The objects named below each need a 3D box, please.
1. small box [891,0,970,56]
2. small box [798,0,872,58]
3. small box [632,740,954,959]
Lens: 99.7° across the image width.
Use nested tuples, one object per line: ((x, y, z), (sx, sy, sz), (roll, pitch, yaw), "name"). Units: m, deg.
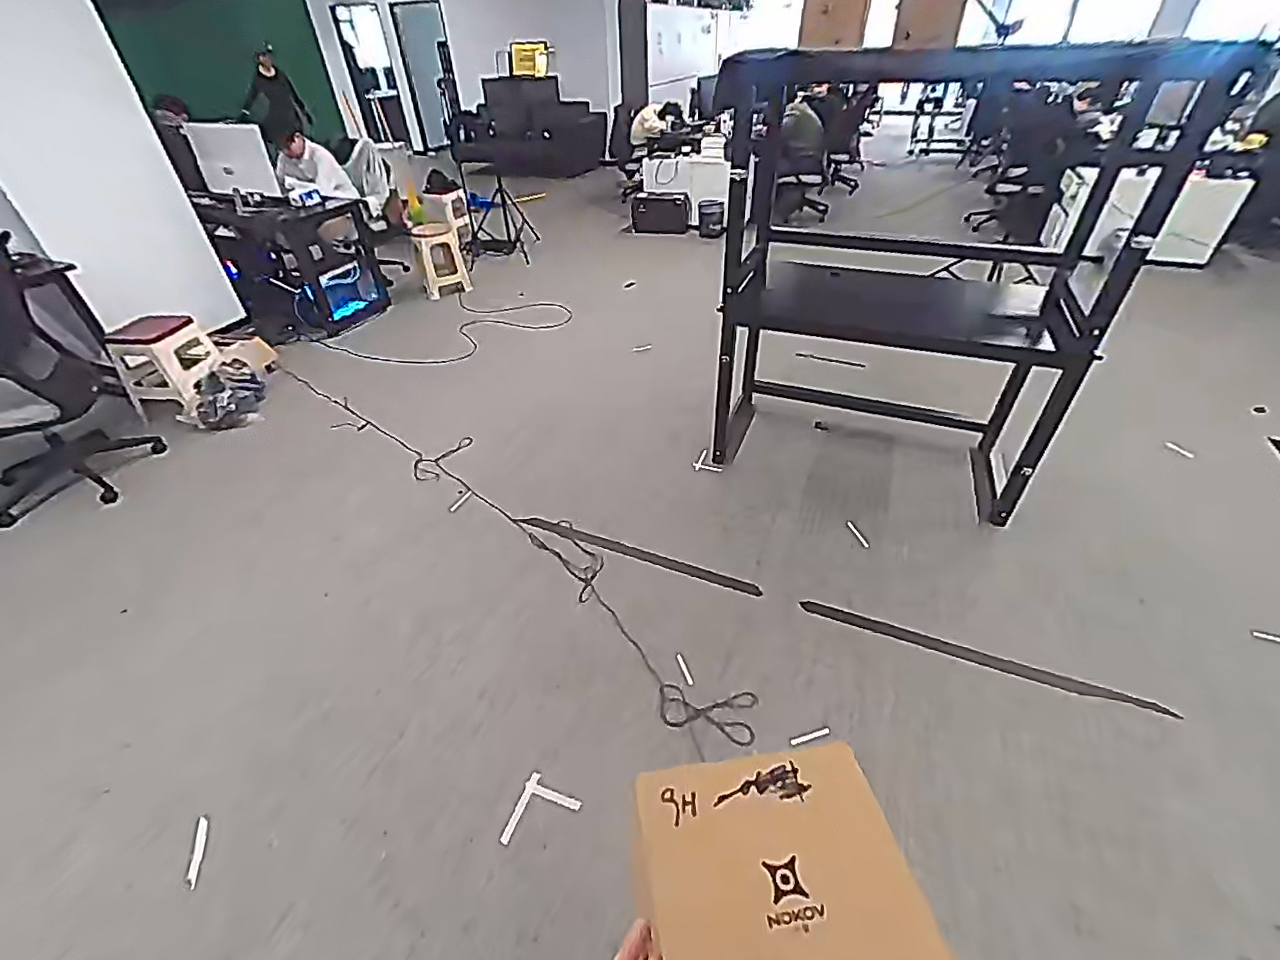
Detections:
((0.775, -1.239, 1.432), (0.168, 0.176, 0.179), (14, 39, 20), "small box")
((0.542, -1.278, 1.491), (0.168, 0.176, 0.179), (14, 39, 17), "small box")
((0.087, 0.315, 0.374), (0.168, 0.176, 0.179), (-3, 37, -9), "small box")
